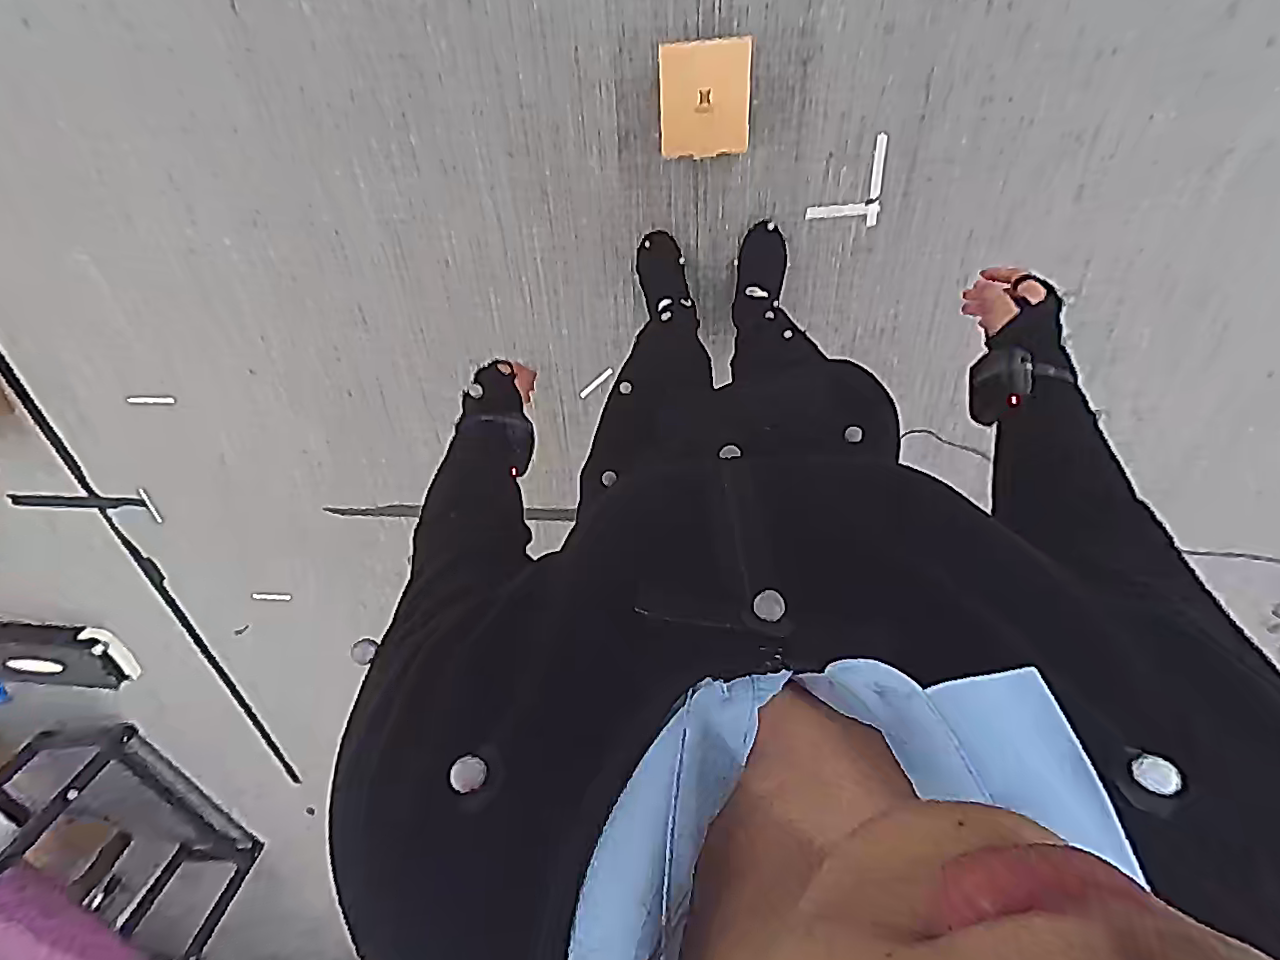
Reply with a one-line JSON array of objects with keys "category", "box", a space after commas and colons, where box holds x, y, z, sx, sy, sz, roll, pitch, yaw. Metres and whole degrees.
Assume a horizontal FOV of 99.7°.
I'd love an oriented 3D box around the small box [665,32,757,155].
[{"category": "small box", "box": [0.133, -0.741, 1.053, 0.168, 0.176, 0.179, -1, 122, 6]}]
